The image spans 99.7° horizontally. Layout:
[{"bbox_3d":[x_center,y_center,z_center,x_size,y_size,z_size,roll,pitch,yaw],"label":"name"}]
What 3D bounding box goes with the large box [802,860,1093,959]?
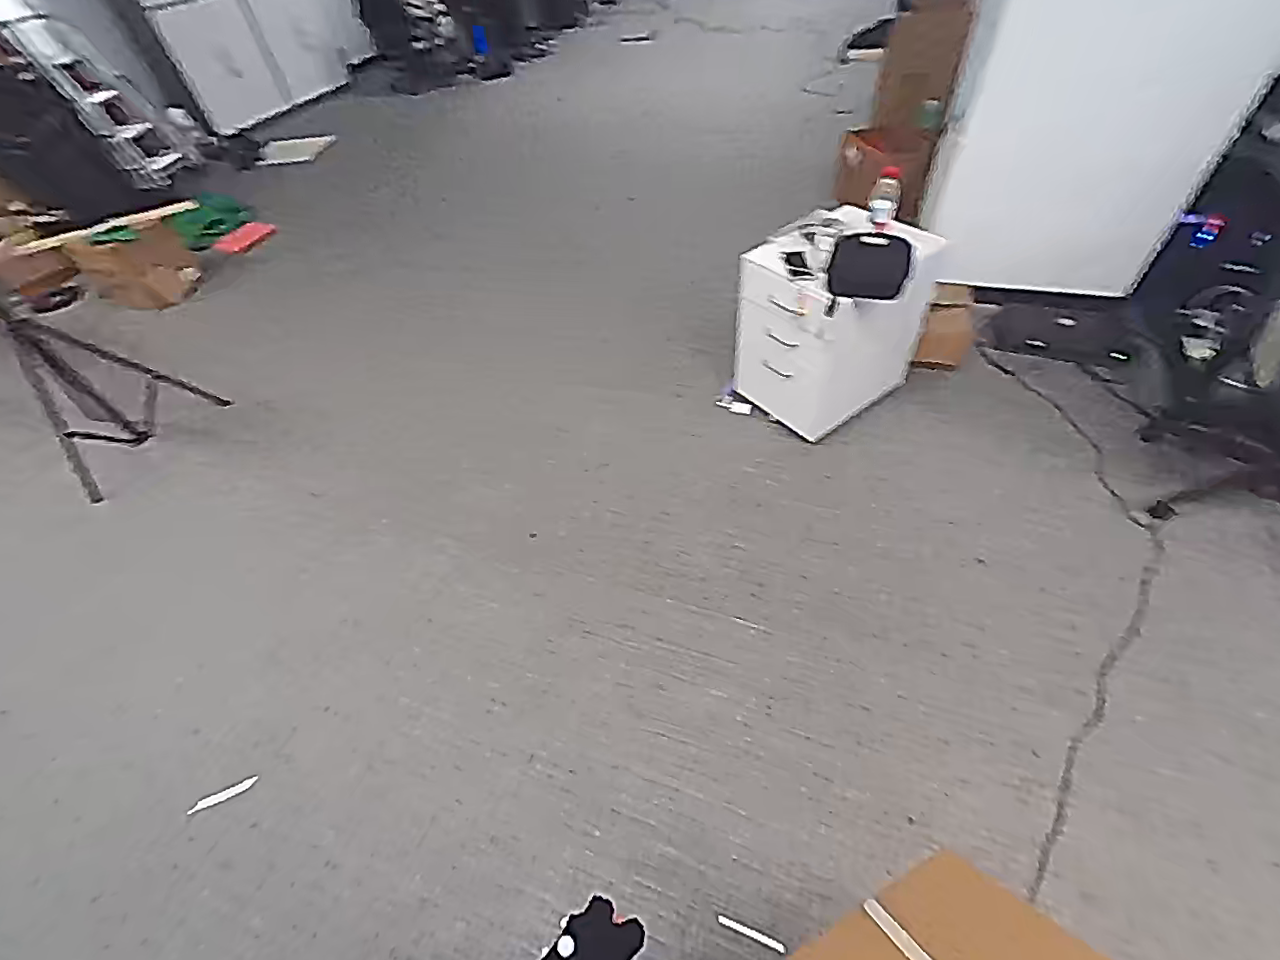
[{"bbox_3d":[0.449,0.759,0.624,0.320,0.408,0.320,-26,82,-11],"label":"large box"}]
